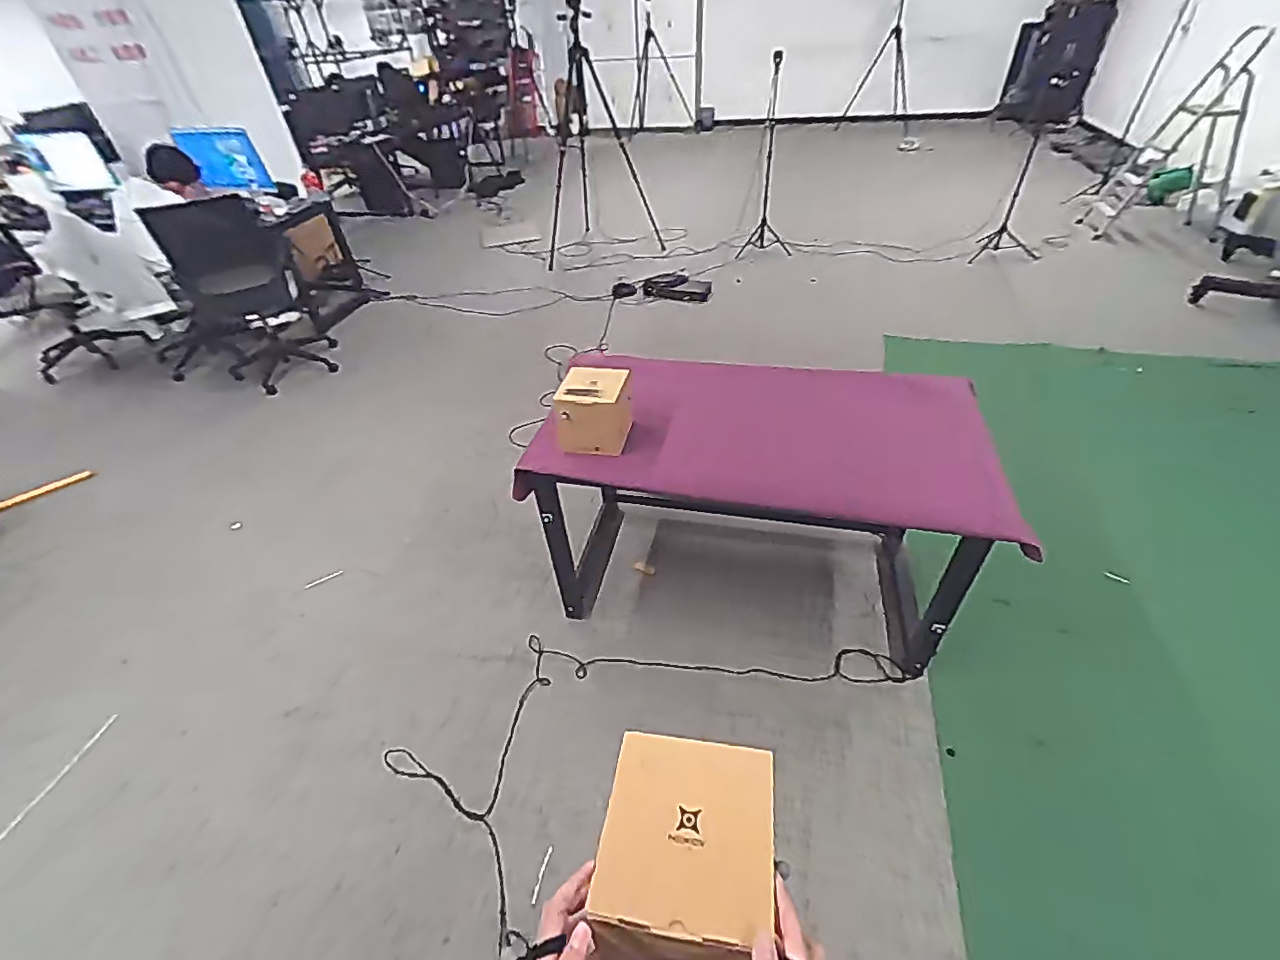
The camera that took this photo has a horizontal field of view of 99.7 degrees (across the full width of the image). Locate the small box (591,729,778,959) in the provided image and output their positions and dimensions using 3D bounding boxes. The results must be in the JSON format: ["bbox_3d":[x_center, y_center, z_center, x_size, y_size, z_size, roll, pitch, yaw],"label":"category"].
[{"bbox_3d":[0.054,0.401,0.574,0.168,0.176,0.179,3,36,11],"label":"small box"}]
